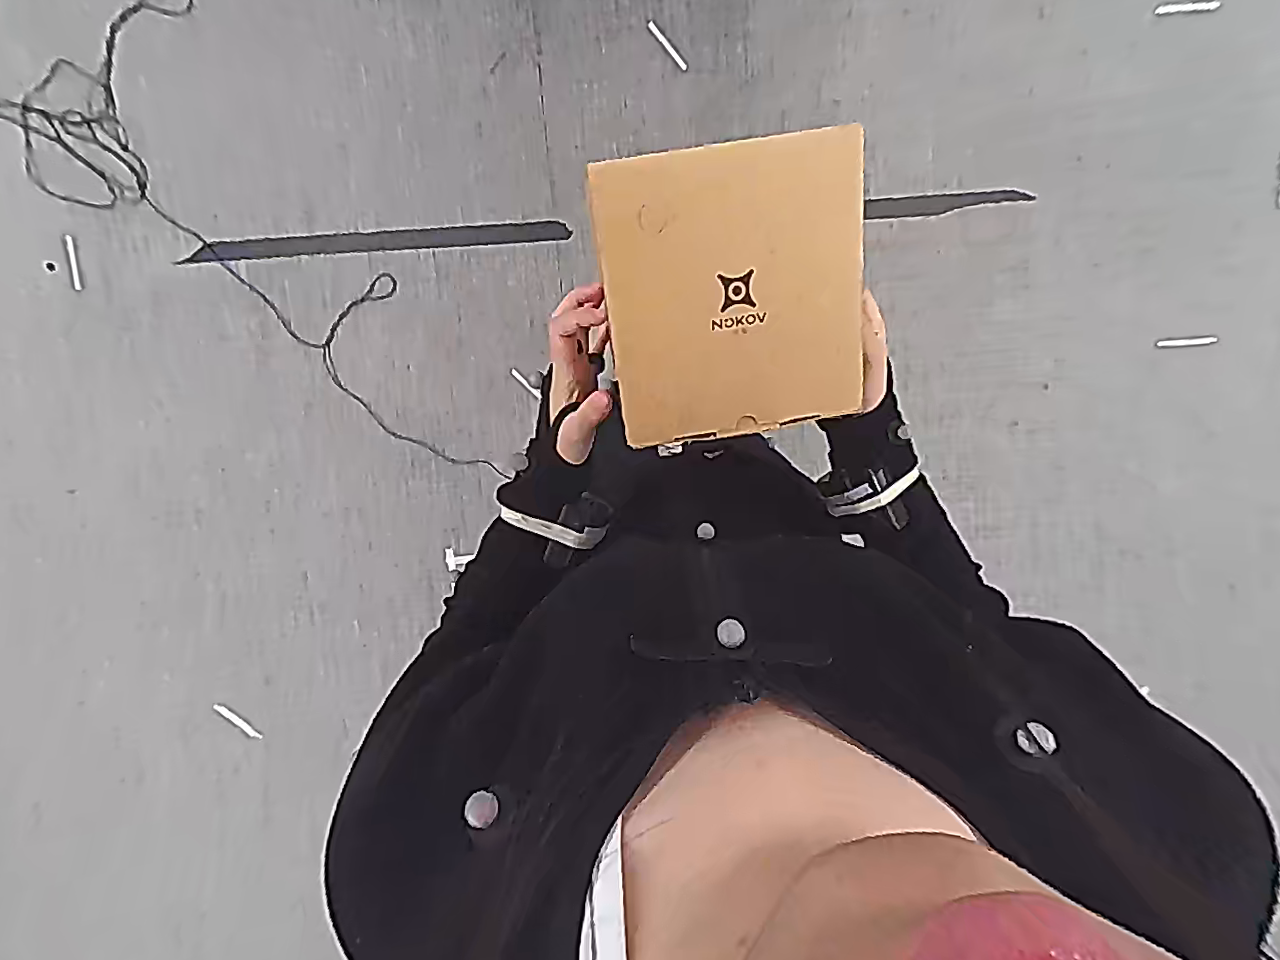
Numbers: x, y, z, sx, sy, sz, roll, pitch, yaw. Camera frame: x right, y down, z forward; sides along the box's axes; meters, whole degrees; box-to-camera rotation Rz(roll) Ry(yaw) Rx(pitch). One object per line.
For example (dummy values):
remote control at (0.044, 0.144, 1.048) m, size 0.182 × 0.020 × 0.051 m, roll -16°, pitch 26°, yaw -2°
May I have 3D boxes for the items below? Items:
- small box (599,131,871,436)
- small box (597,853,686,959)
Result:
small box at (0.060, -0.142, 0.424) m, size 0.168 × 0.176 × 0.179 m, roll -8°, pitch 106°, yaw -4°
small box at (0.004, 0.969, 1.204) m, size 0.179 × 0.176 × 0.168 m, roll -7°, pitch 95°, yaw 1°
